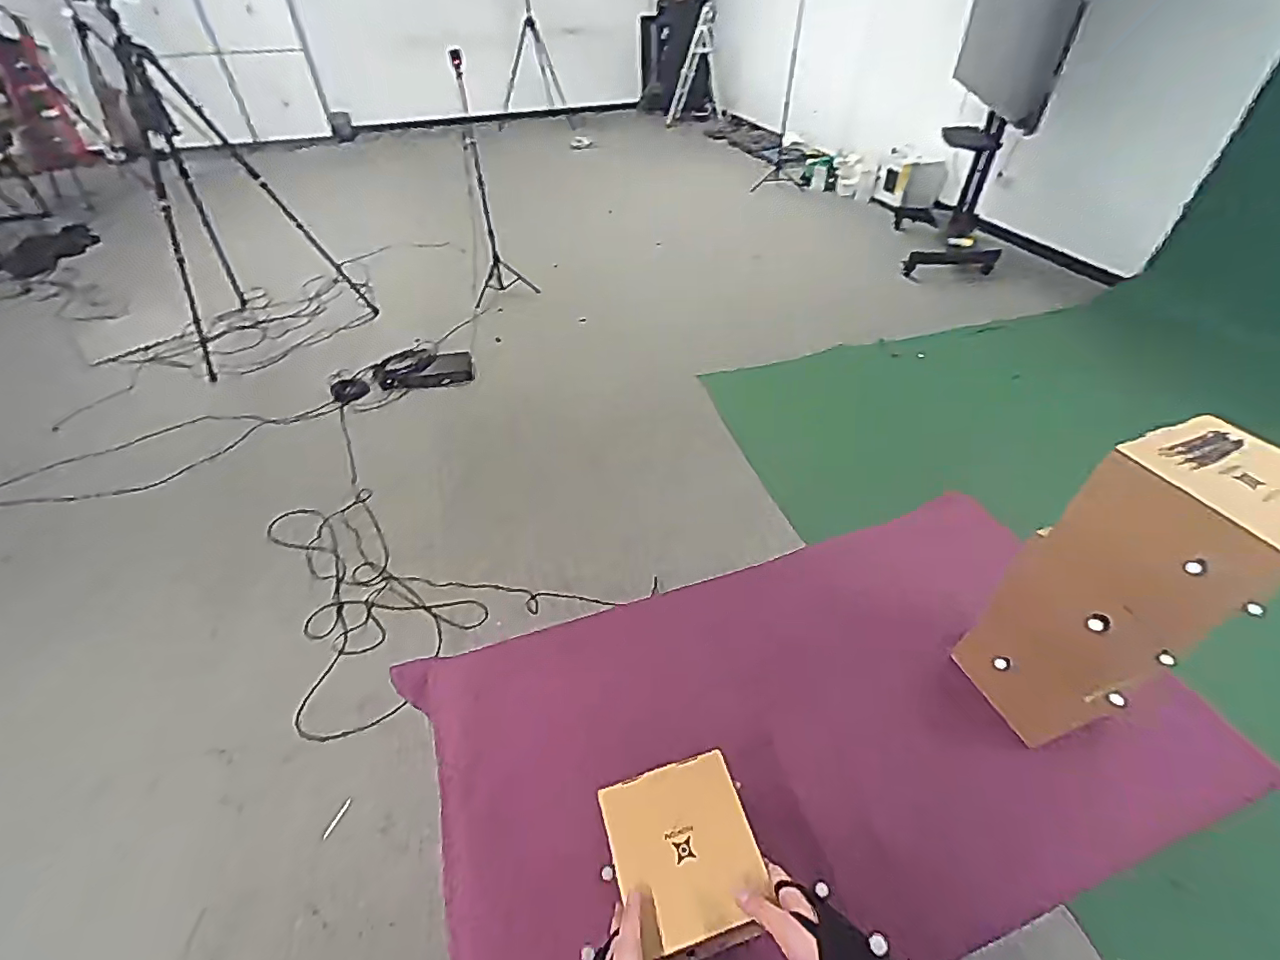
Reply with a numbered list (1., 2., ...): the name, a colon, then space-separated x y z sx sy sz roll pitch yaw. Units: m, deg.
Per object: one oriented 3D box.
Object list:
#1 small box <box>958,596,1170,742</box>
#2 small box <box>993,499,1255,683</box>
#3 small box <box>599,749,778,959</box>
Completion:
1. small box: 0.657 0.281 0.867 0.168 0.176 0.179 -16 44 -12
2. small box: 0.650 0.160 0.755 0.168 0.176 0.179 -14 44 -12
3. small box: 0.057 0.479 0.678 0.168 0.176 0.179 -15 43 -9
